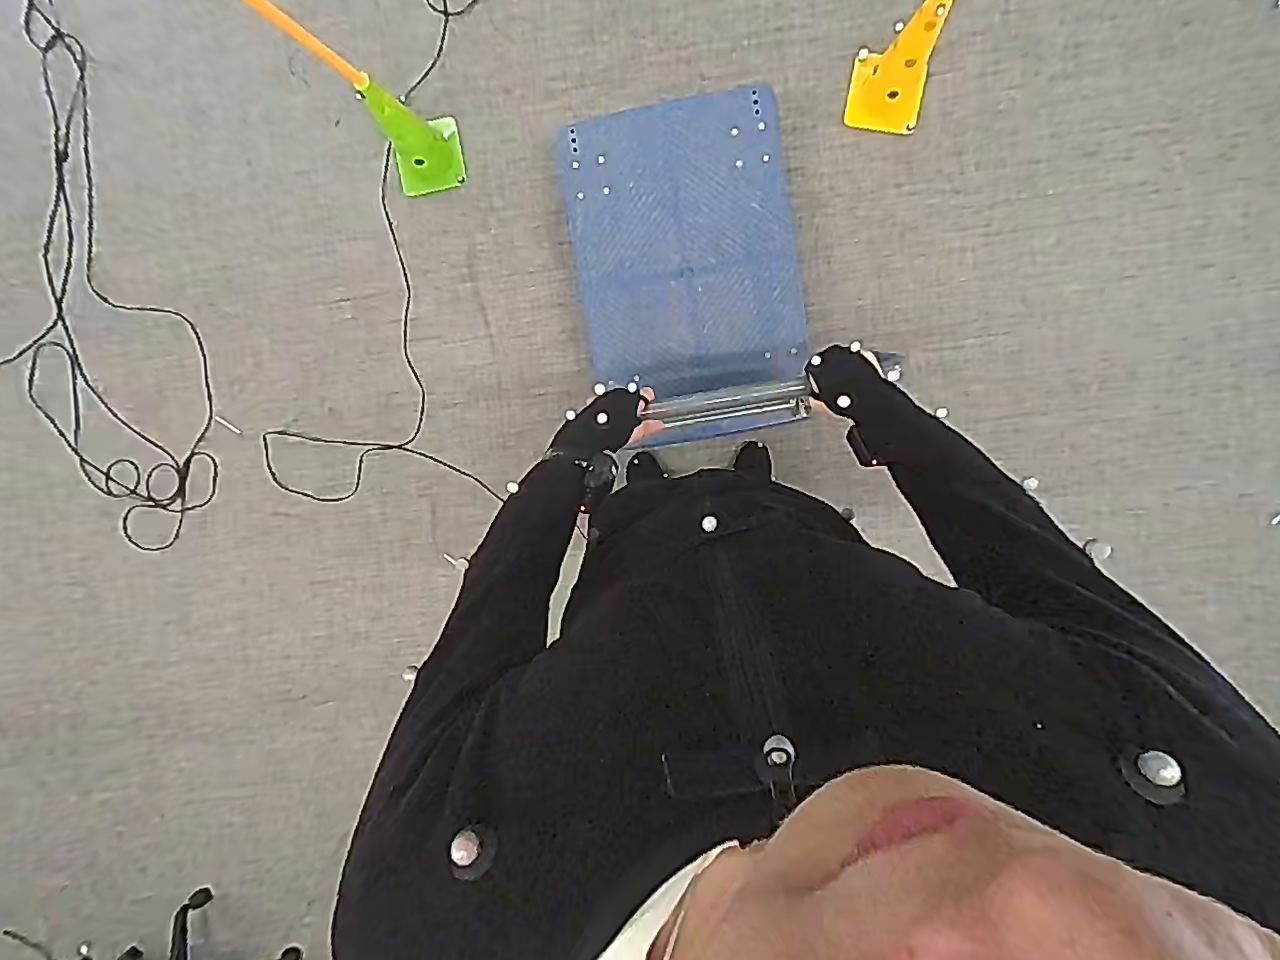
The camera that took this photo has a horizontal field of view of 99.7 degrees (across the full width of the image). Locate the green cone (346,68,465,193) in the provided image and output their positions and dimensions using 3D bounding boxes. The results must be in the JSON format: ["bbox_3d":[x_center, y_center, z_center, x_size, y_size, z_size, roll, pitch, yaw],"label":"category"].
[{"bbox_3d":[-0.646,-0.962,1.438,0.202,0.368,0.200,-10,93,7],"label":"green cone"}]
